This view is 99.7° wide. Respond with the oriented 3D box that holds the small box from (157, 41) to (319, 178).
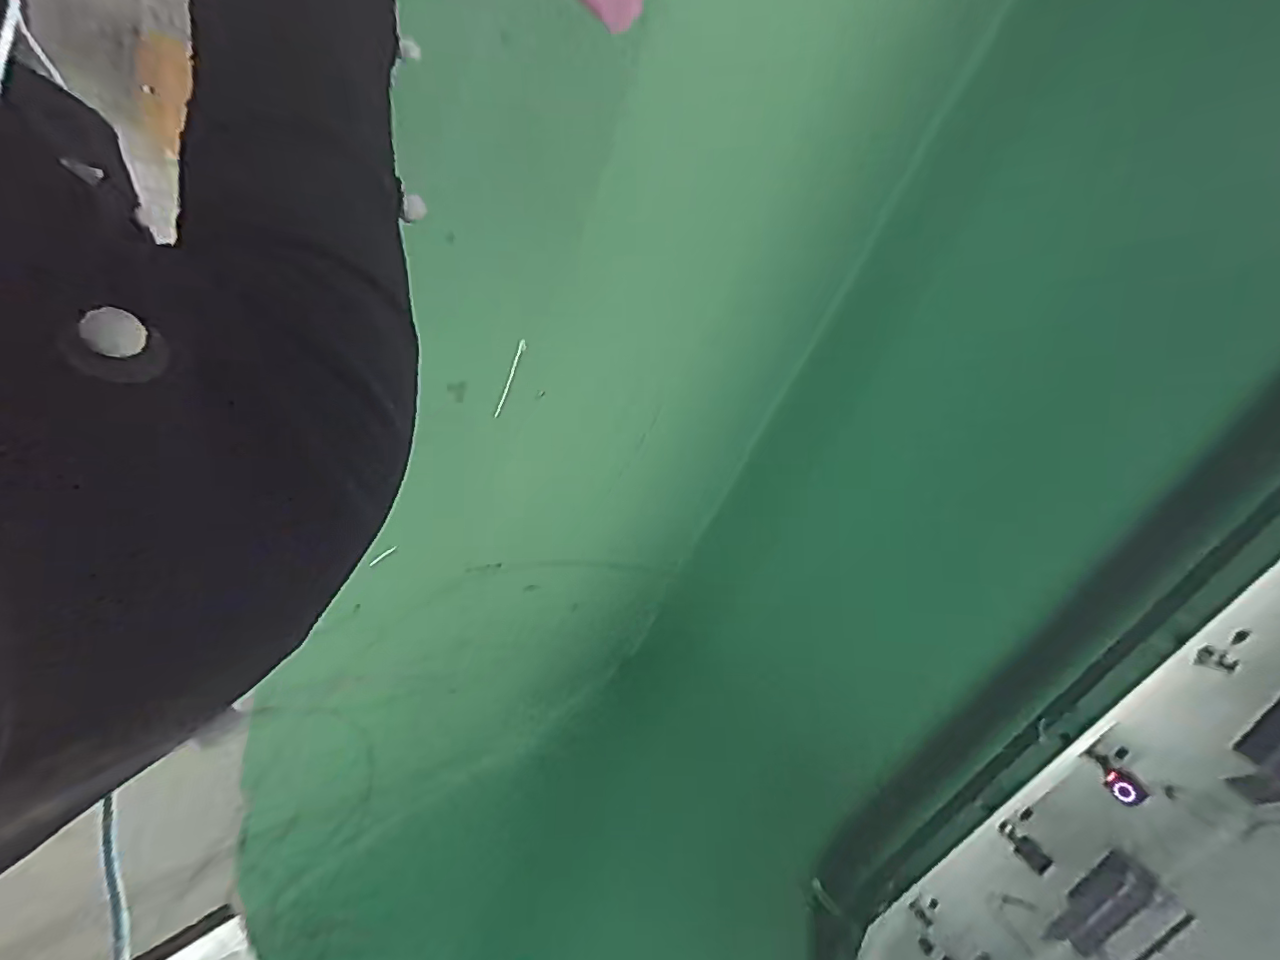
[{"bbox_3d":[-0.688,-0.596,0.922,0.168,0.176,0.179,-3,125,-56],"label":"small box"}]
